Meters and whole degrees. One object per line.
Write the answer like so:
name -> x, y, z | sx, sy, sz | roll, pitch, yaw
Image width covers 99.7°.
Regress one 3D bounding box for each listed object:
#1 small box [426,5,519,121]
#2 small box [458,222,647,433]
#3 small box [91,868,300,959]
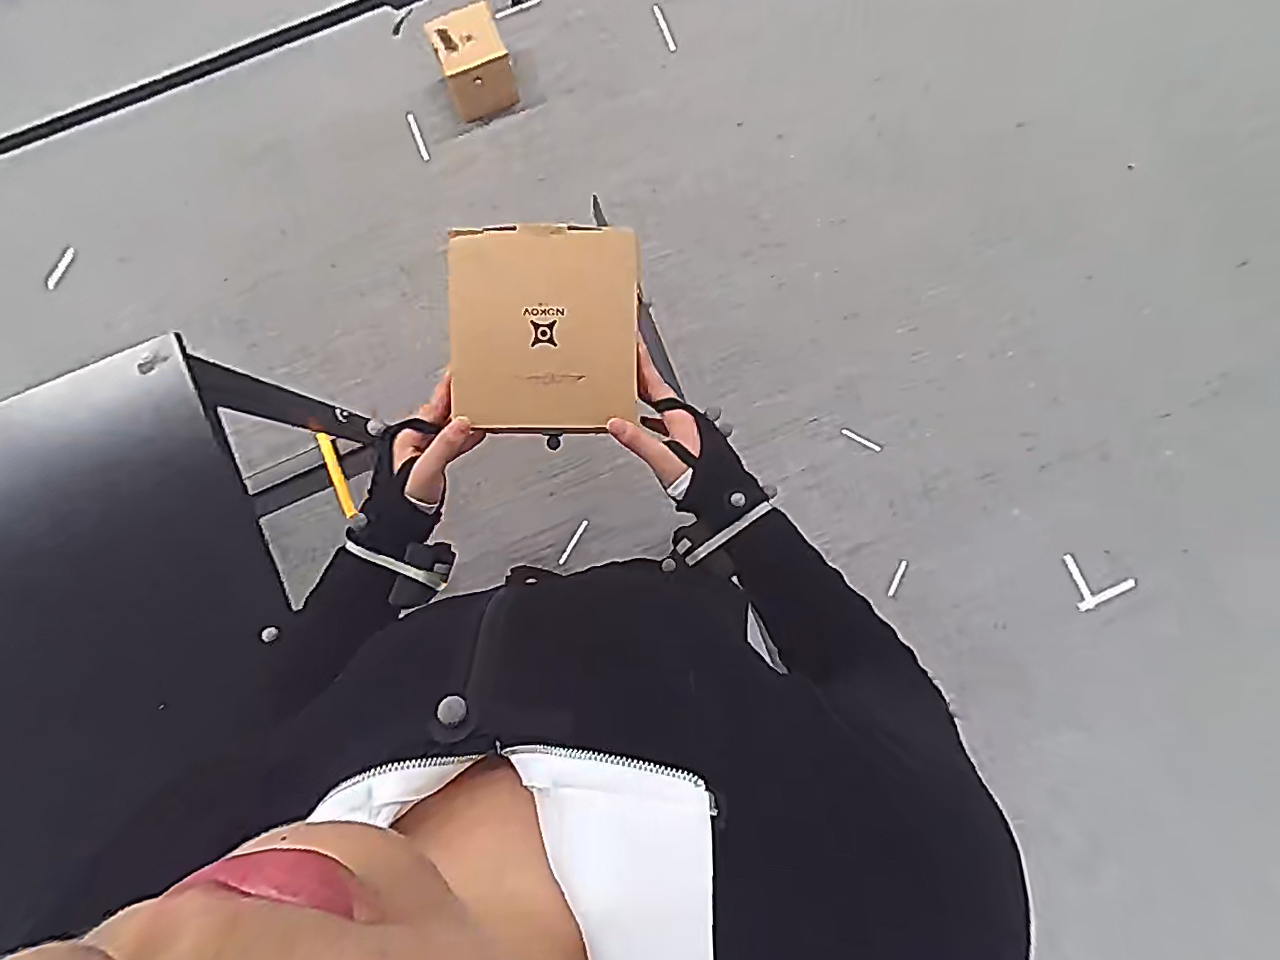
small box -> -0.463, -1.159, 1.517 | 0.179, 0.176, 0.168 | -24, 86, -2
small box -> -0.077, -0.140, 0.553 | 0.168, 0.176, 0.179 | 0, 93, 0
small box -> -0.563, 0.628, 0.658 | 0.179, 0.176, 0.168 | -21, 86, -1
